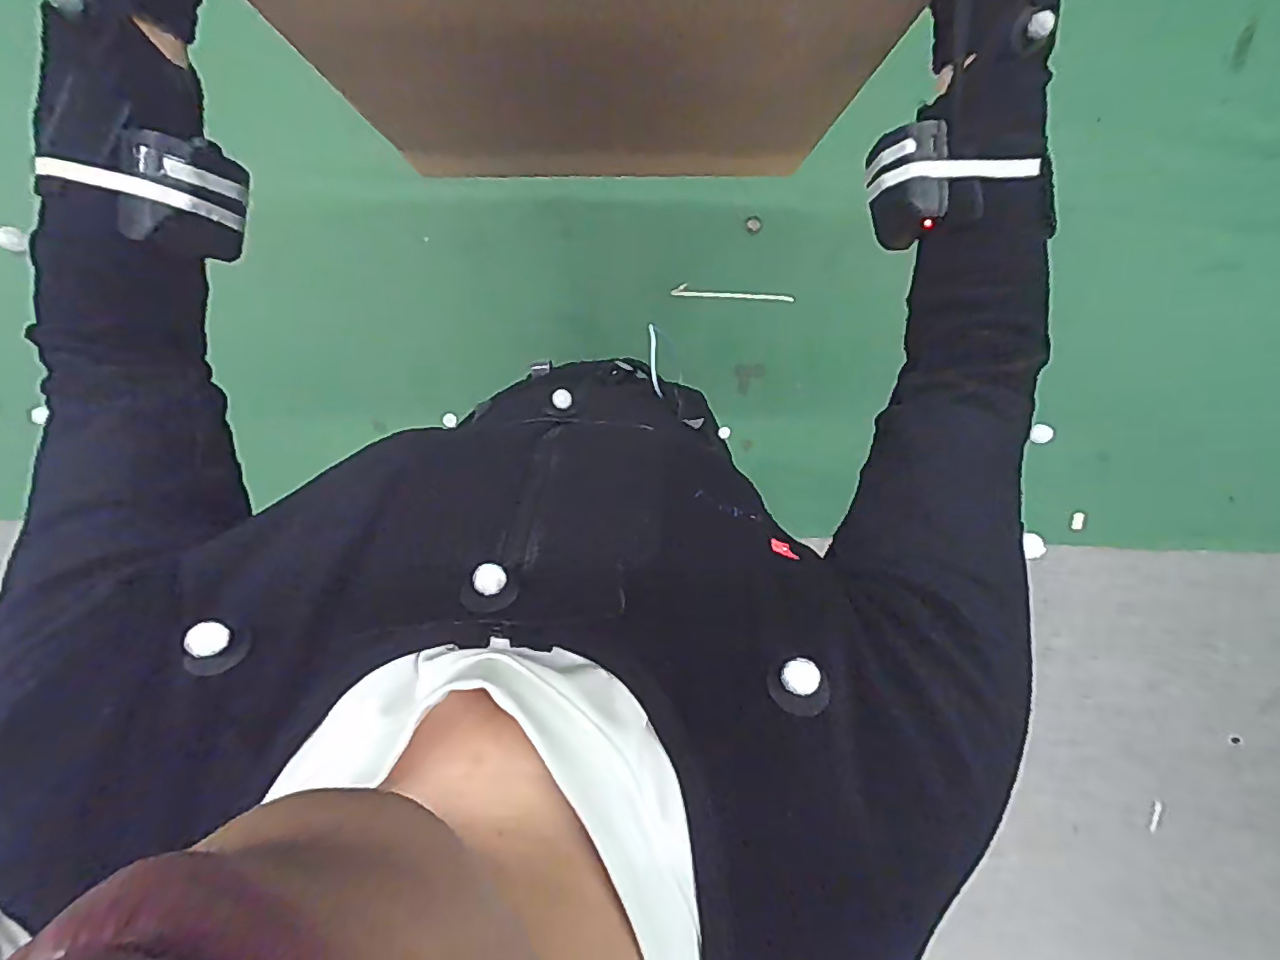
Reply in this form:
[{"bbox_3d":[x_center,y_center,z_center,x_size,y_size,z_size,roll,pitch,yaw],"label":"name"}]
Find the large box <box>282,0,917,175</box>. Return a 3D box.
[{"bbox_3d":[-0.029,-0.457,0.408,0.408,0.320,0.320,-2,101,-2],"label":"large box"}]
